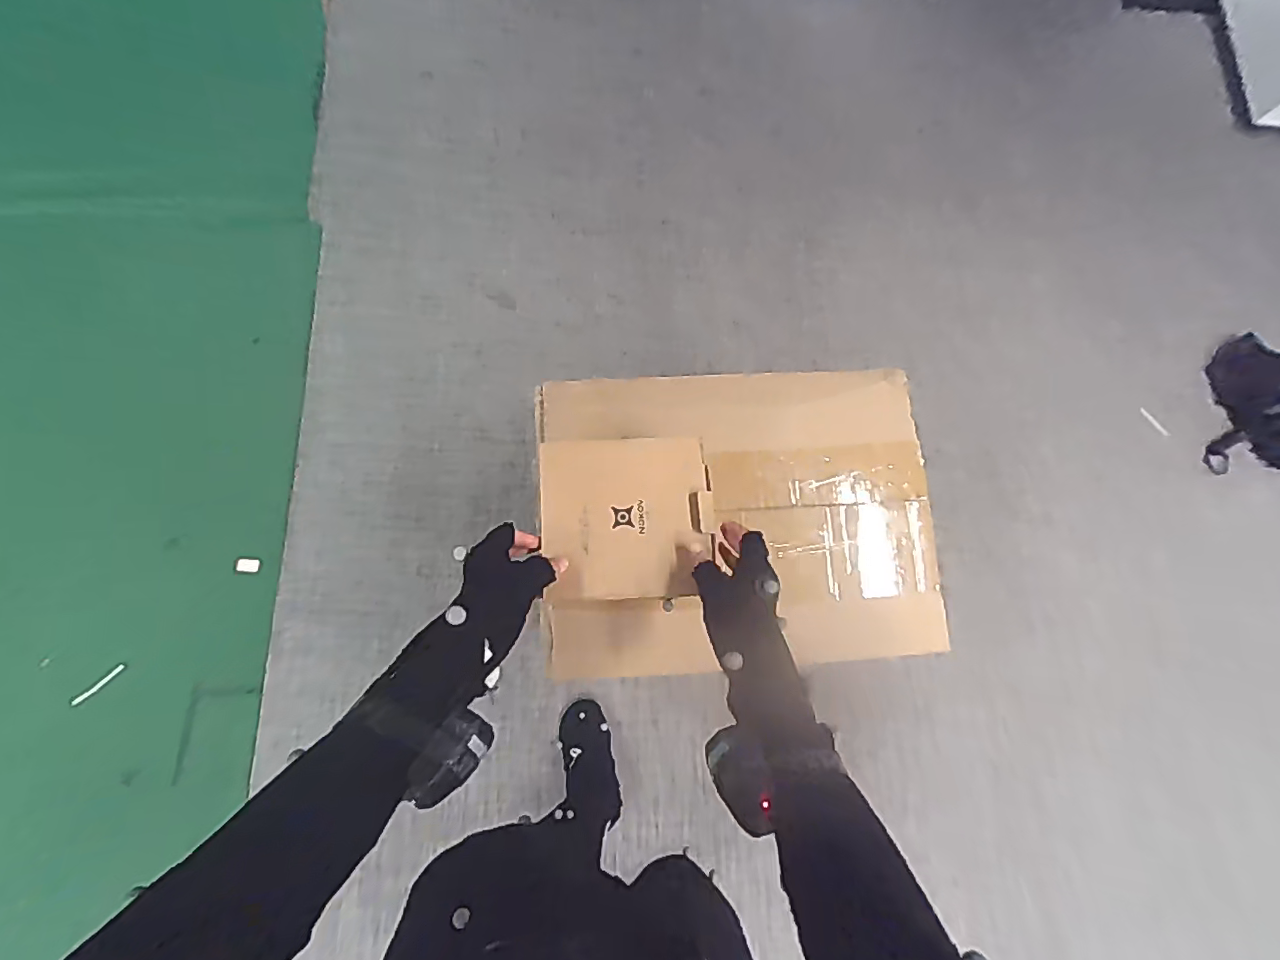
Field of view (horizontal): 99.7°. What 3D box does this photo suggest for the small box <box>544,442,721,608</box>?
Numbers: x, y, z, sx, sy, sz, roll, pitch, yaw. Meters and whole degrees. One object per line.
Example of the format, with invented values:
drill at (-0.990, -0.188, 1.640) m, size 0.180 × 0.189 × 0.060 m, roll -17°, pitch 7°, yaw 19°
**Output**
small box at (-0.014, 0.059, 0.632) m, size 0.179 × 0.176 × 0.168 m, roll -4°, pitch 77°, yaw -3°
